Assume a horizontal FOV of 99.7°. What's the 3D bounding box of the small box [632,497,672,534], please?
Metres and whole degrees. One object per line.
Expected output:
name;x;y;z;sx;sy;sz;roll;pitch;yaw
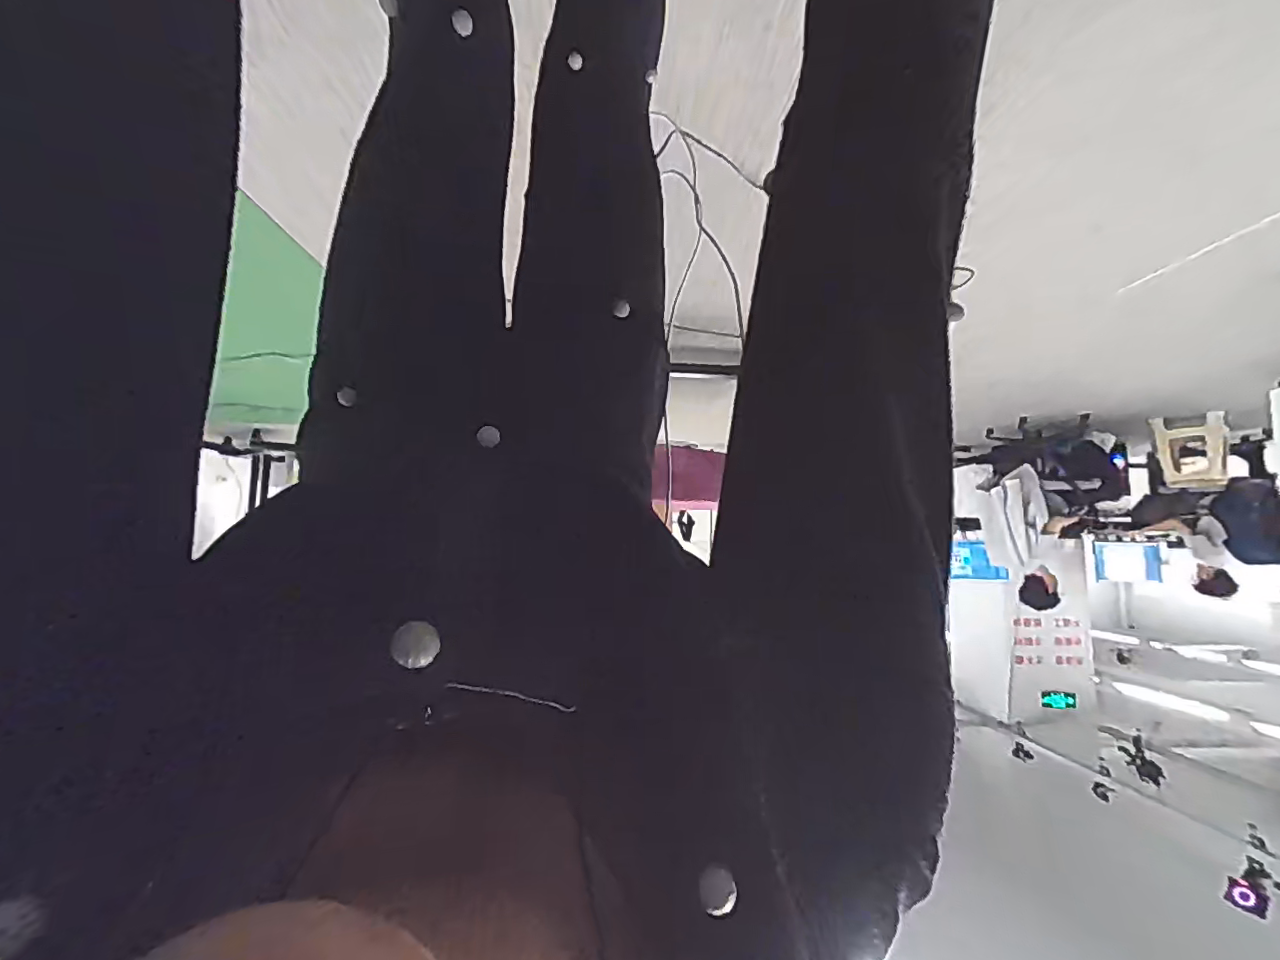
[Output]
small box;0.056;0.170;2.584;0.179;0.176;0.168;3;175;-5
